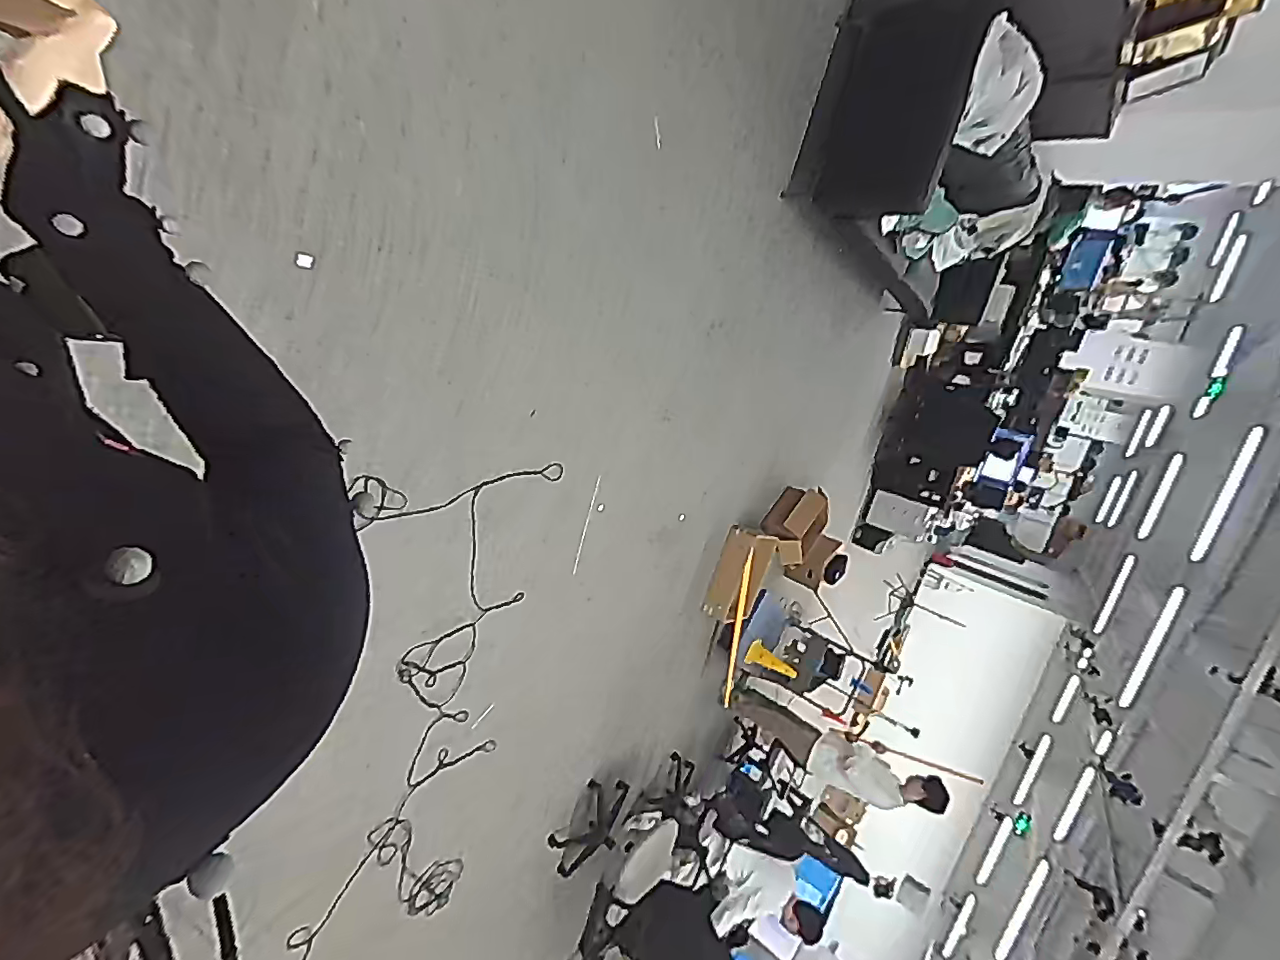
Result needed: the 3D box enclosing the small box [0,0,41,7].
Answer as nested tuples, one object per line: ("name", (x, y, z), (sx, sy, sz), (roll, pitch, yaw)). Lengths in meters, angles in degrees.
("small box", (-0.328, -0.323, 0.200), (0.179, 0.176, 0.168), (7, 107, -57))
